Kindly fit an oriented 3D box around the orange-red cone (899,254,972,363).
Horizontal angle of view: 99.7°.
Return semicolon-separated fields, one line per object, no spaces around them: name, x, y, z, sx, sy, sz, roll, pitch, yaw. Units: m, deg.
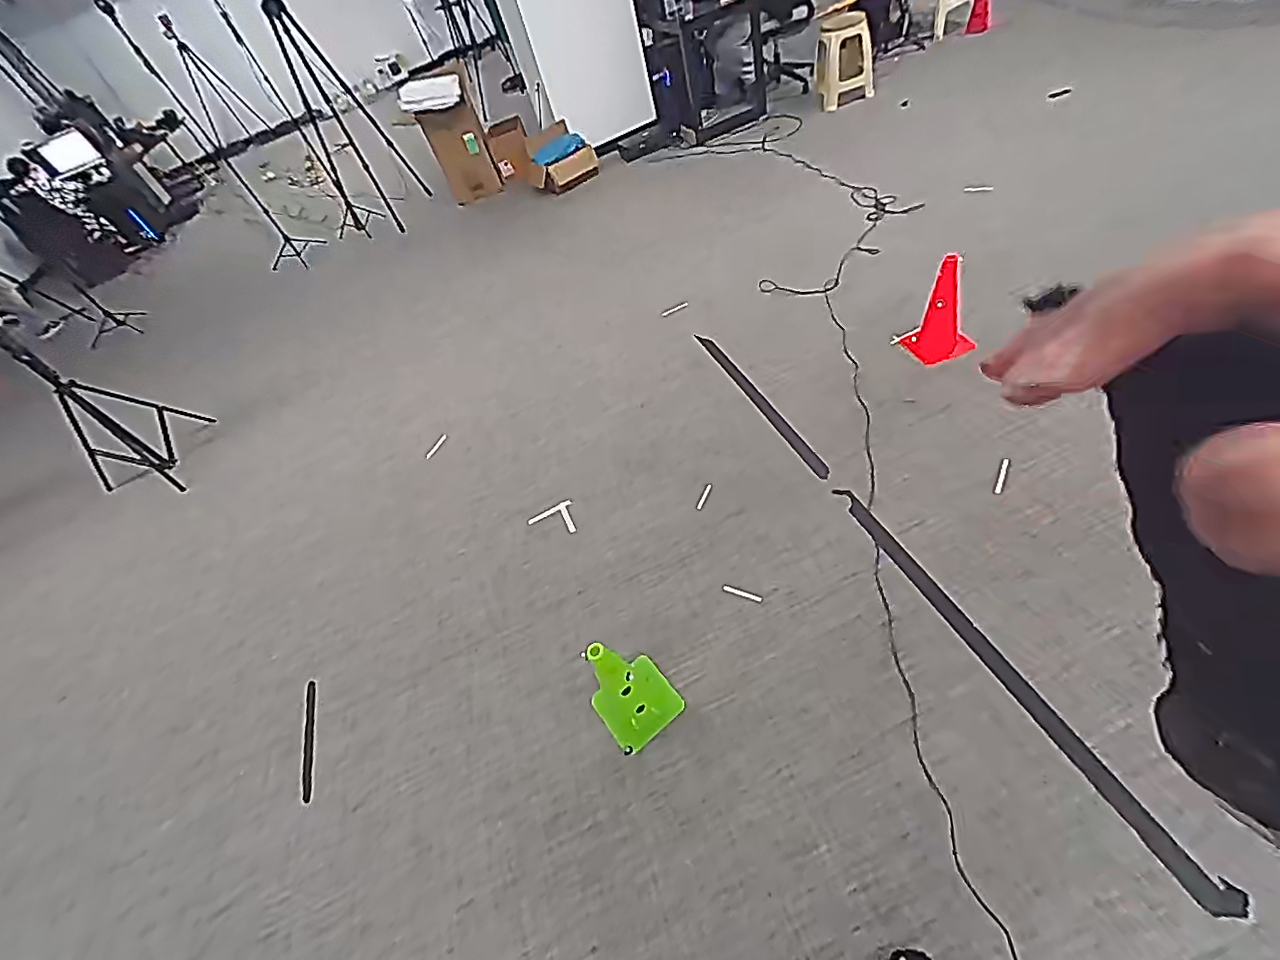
orange-red cone;1.071;-0.630;1.923;0.198;0.360;0.199;-21;48;2

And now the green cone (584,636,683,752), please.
green cone;-0.054;0.488;1.345;0.200;0.368;0.202;-37;47;-15
